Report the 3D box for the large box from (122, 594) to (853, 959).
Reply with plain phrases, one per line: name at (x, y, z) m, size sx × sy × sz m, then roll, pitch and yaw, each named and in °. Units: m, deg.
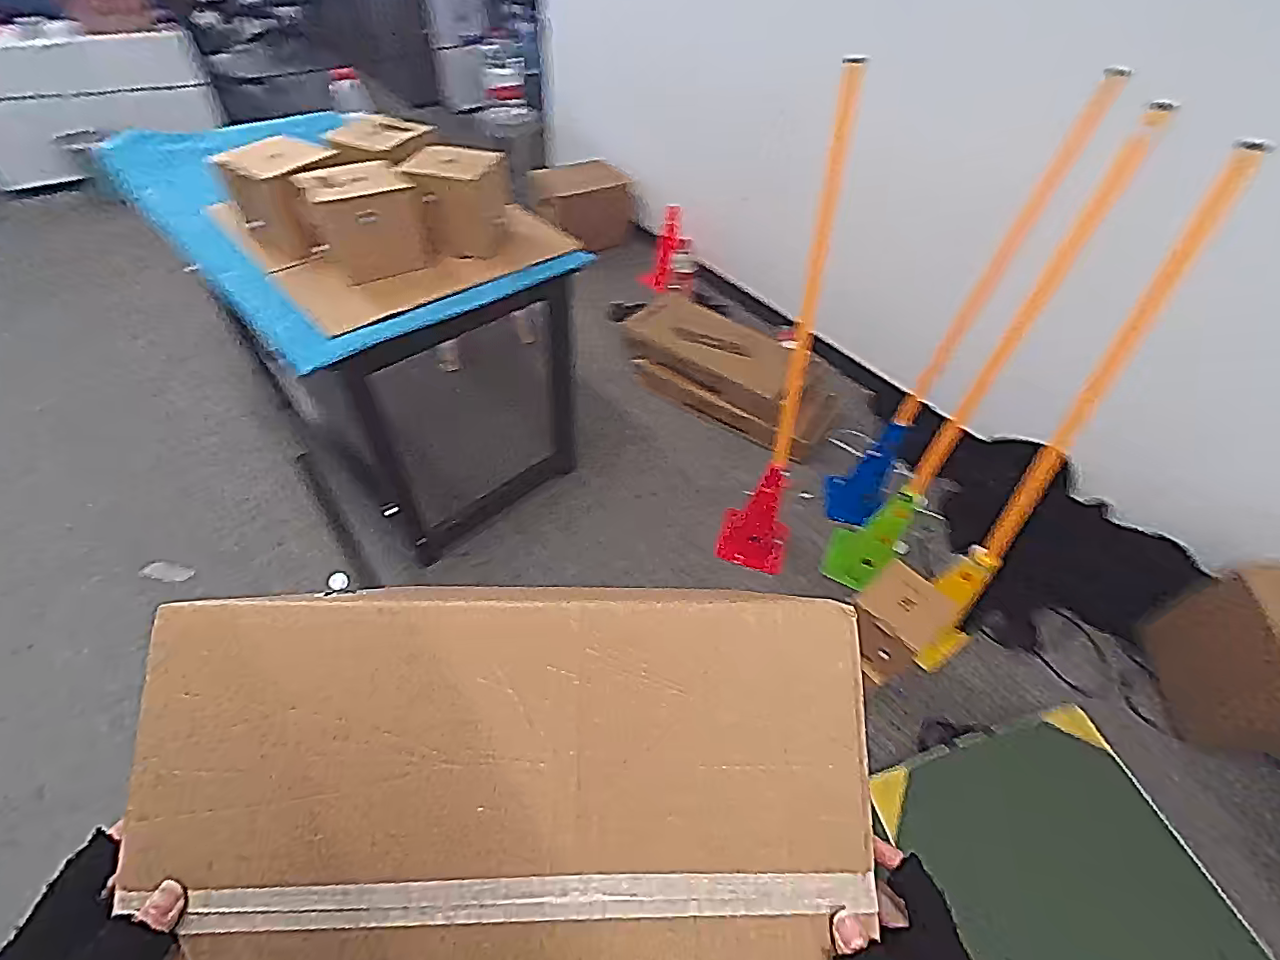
large box at (-0.086, 0.259, 0.449) m, size 0.408 × 0.320 × 0.320 m, roll -1°, pitch 81°, yaw -3°
